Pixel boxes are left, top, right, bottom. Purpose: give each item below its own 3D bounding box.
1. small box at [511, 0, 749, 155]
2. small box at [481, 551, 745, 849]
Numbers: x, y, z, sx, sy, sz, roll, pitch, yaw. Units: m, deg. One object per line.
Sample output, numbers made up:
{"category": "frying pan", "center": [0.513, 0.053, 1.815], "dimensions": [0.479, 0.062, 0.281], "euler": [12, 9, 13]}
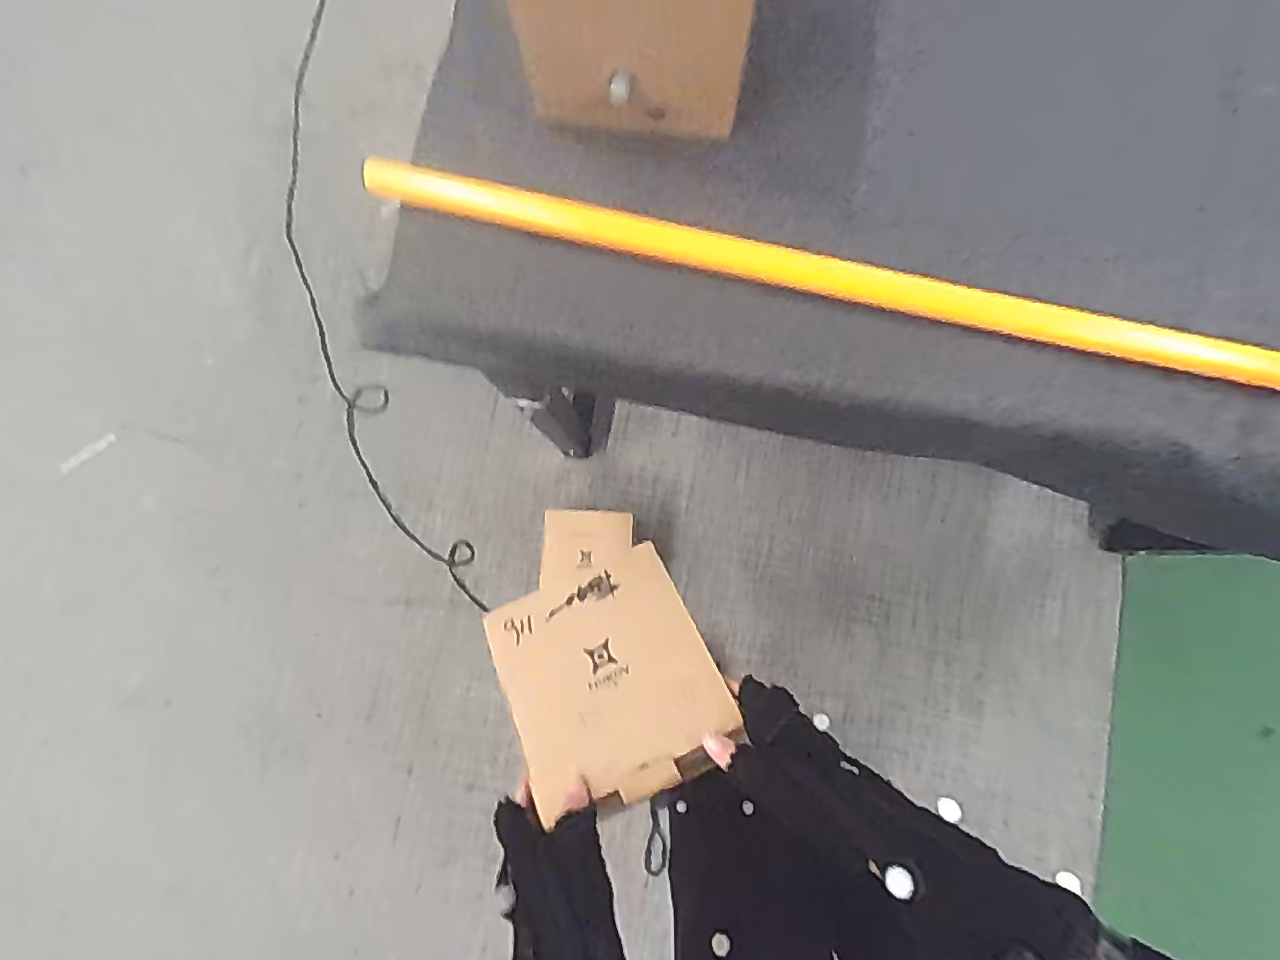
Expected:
{"category": "small box", "center": [0.001, -0.385, 0.398], "dimensions": [0.168, 0.176, 0.179], "euler": [8, 83, 3]}
{"category": "small box", "center": [-0.017, 0.202, 0.500], "dimensions": [0.168, 0.176, 0.179], "euler": [-27, 58, -8]}
